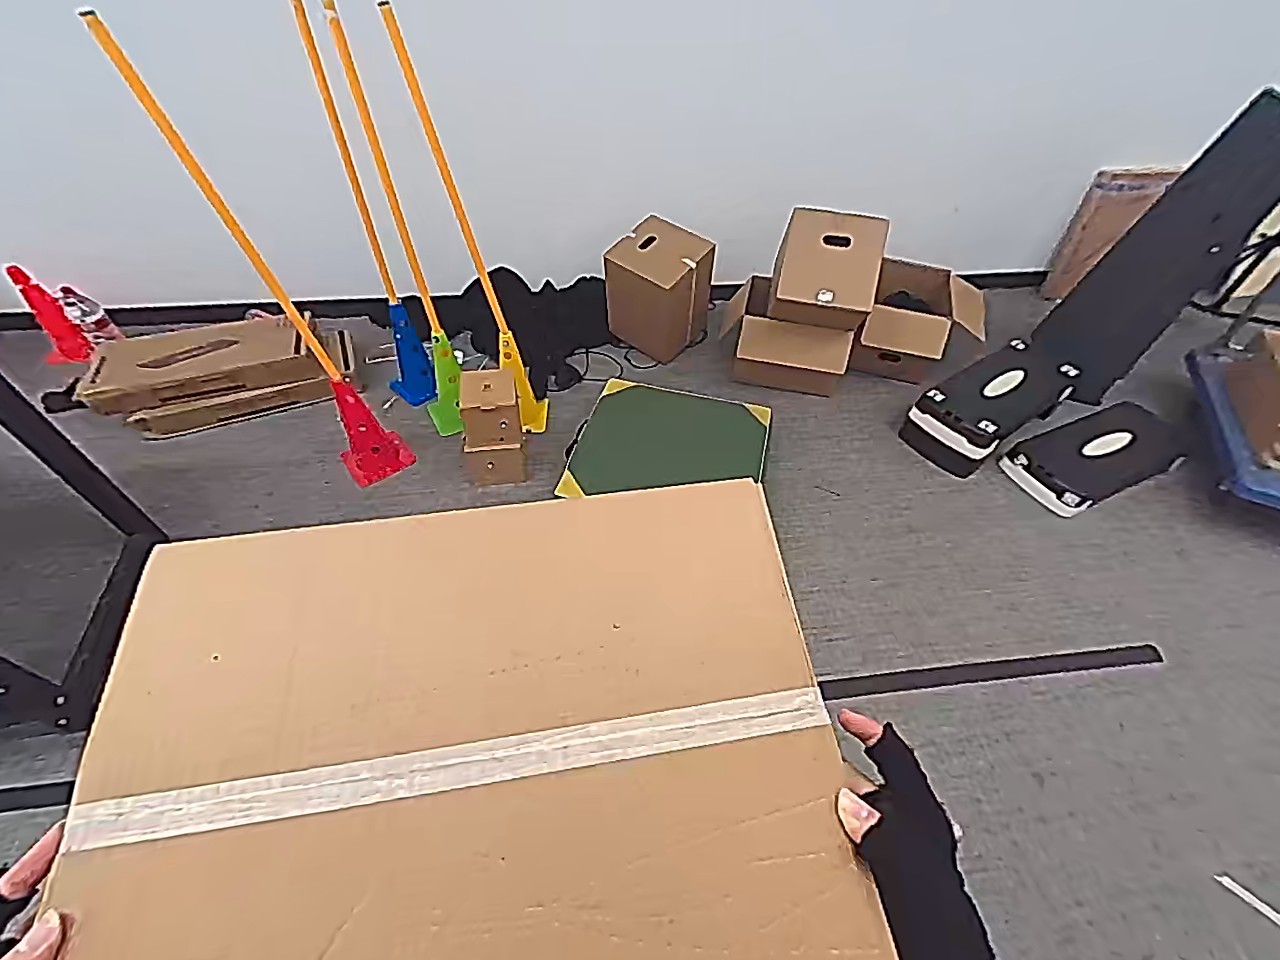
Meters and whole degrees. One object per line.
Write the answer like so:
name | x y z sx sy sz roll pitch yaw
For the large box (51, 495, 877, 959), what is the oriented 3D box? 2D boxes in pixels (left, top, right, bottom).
large box | -0.098 0.237 0.437 0.408 0.320 0.320 -6 60 -6
